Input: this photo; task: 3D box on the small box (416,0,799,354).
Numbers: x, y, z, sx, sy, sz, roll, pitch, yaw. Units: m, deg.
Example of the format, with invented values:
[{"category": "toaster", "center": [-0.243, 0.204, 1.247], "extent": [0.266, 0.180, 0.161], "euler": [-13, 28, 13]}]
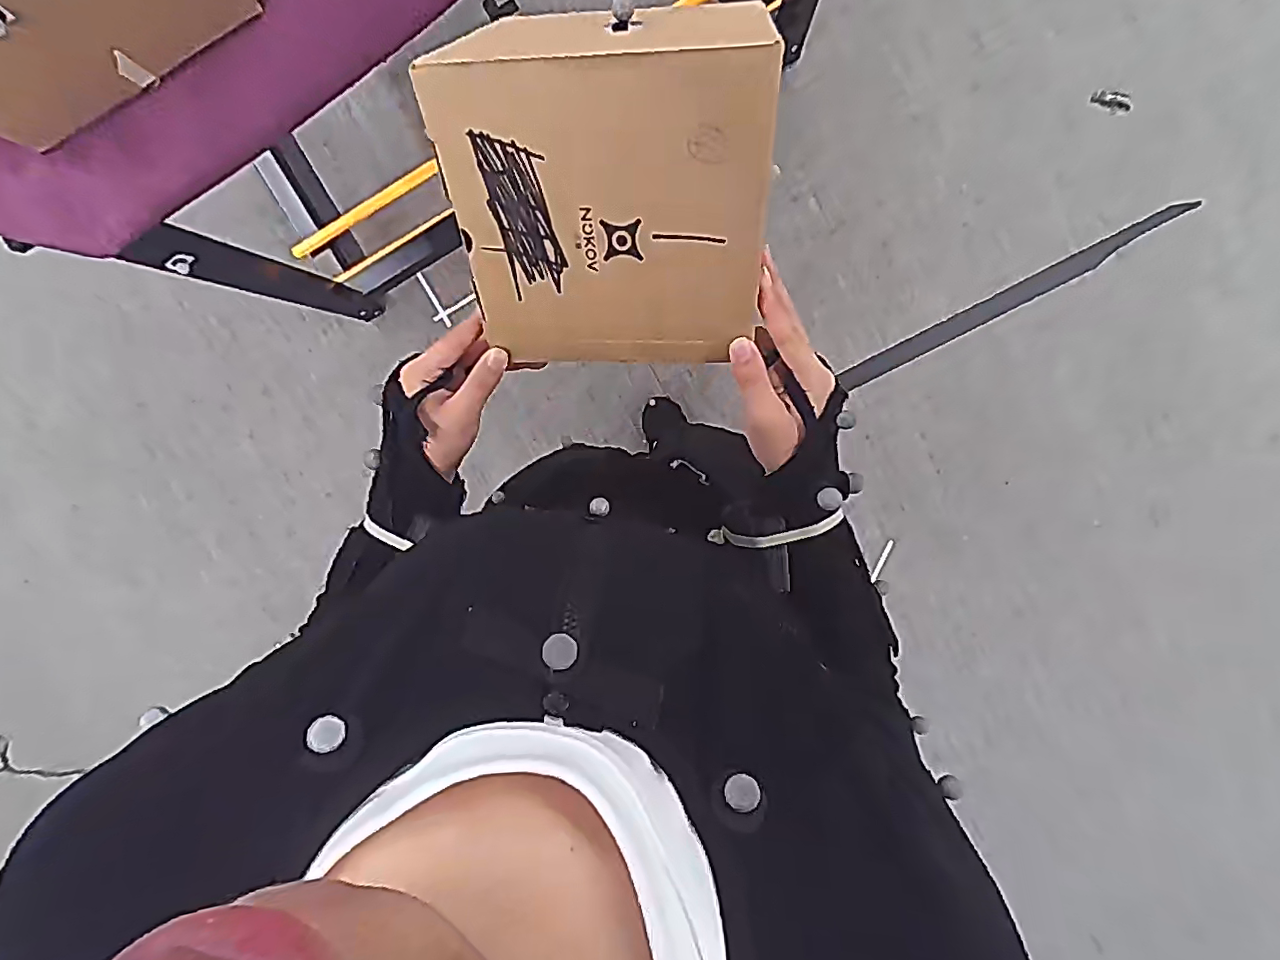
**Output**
[{"category": "small box", "center": [-0.007, -0.198, 0.349], "extent": [0.179, 0.176, 0.168], "euler": [1, 136, 6]}]

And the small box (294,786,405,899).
[{"category": "small box", "center": [-0.770, 0.961, 1.452], "extent": [0.168, 0.176, 0.179], "euler": [-22, 97, 7]}]
